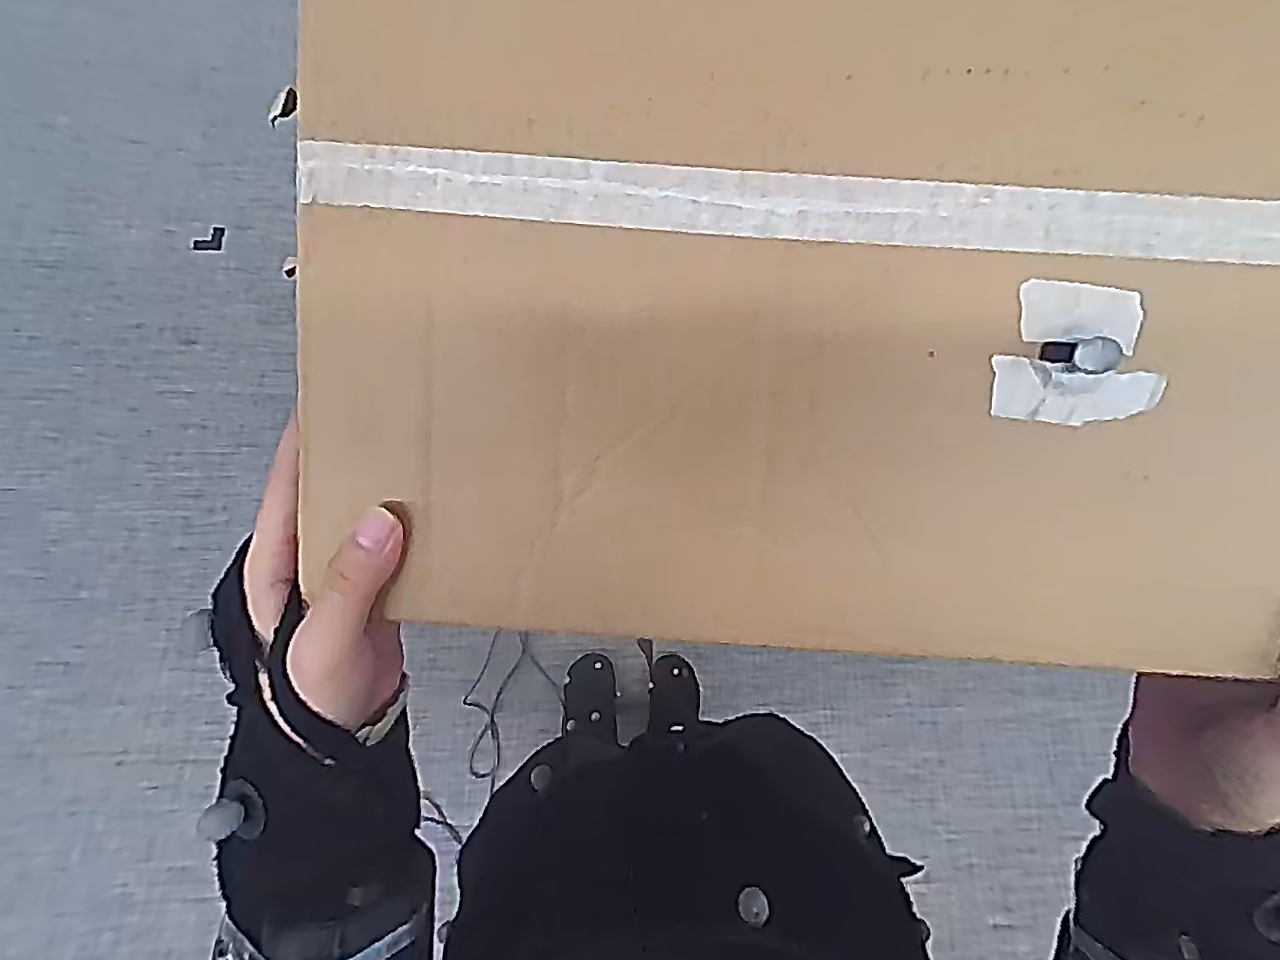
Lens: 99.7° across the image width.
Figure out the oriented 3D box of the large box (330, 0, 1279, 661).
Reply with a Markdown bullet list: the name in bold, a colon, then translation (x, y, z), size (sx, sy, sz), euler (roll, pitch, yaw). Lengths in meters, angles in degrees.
- **large box**: translation (0.084, -0.098, 0.347), size (0.408, 0.320, 0.320), euler (3, 95, -1)
